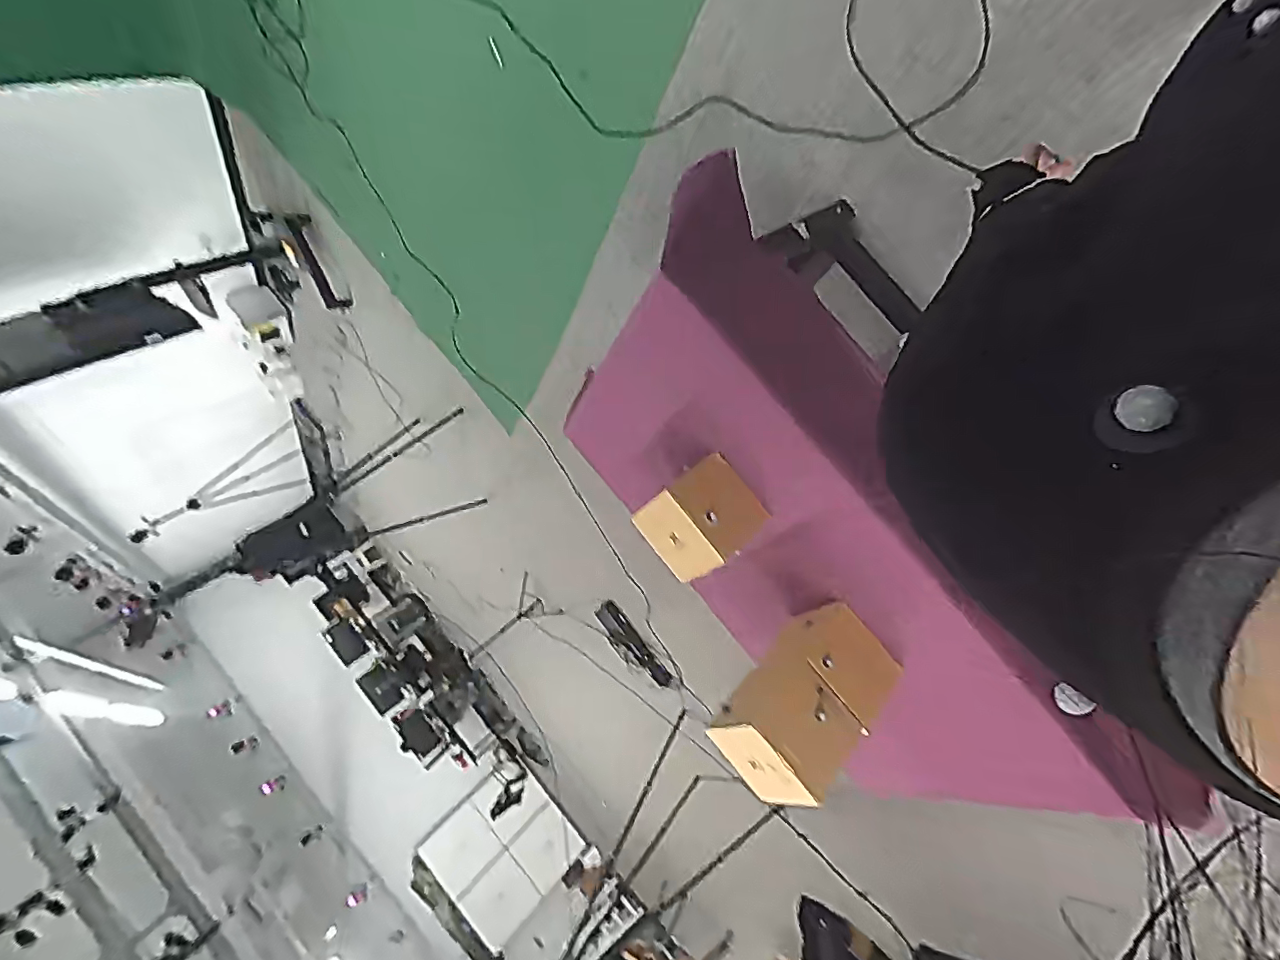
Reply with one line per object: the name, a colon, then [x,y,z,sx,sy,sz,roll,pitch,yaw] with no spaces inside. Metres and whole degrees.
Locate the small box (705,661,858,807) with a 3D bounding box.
small box: [0.260,0.460,0.993,0.168,0.176,0.179,50,145,6]

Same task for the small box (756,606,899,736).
small box: [0.376,0.383,1.083,0.179,0.176,0.168,50,145,6]

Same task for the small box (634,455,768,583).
small box: [0.128,0.078,1.107,0.179,0.176,0.168,53,145,3]
